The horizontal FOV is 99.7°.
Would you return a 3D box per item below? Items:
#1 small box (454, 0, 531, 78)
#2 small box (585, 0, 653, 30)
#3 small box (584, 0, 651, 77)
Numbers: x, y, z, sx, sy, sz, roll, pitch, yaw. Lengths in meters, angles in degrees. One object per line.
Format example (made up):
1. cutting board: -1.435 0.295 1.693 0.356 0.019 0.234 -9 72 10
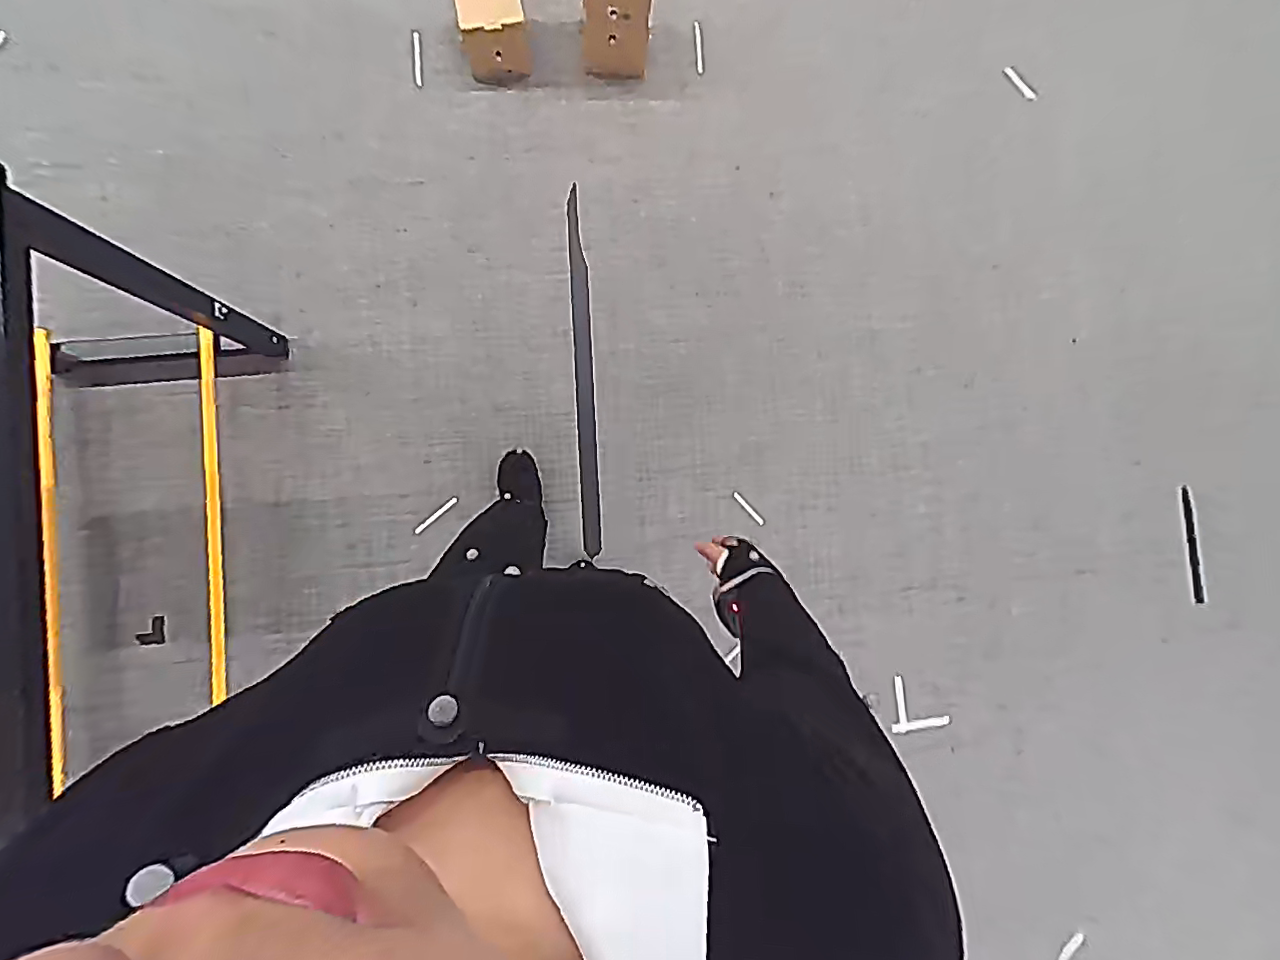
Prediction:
1. small box: -0.393 -1.216 1.445 0.168 0.176 0.179 -10 89 -6
2. small box: -0.056 -1.254 1.318 0.168 0.176 0.179 -6 89 -5
3. small box: -0.067 -1.246 1.480 0.179 0.176 0.168 -1 88 -7
